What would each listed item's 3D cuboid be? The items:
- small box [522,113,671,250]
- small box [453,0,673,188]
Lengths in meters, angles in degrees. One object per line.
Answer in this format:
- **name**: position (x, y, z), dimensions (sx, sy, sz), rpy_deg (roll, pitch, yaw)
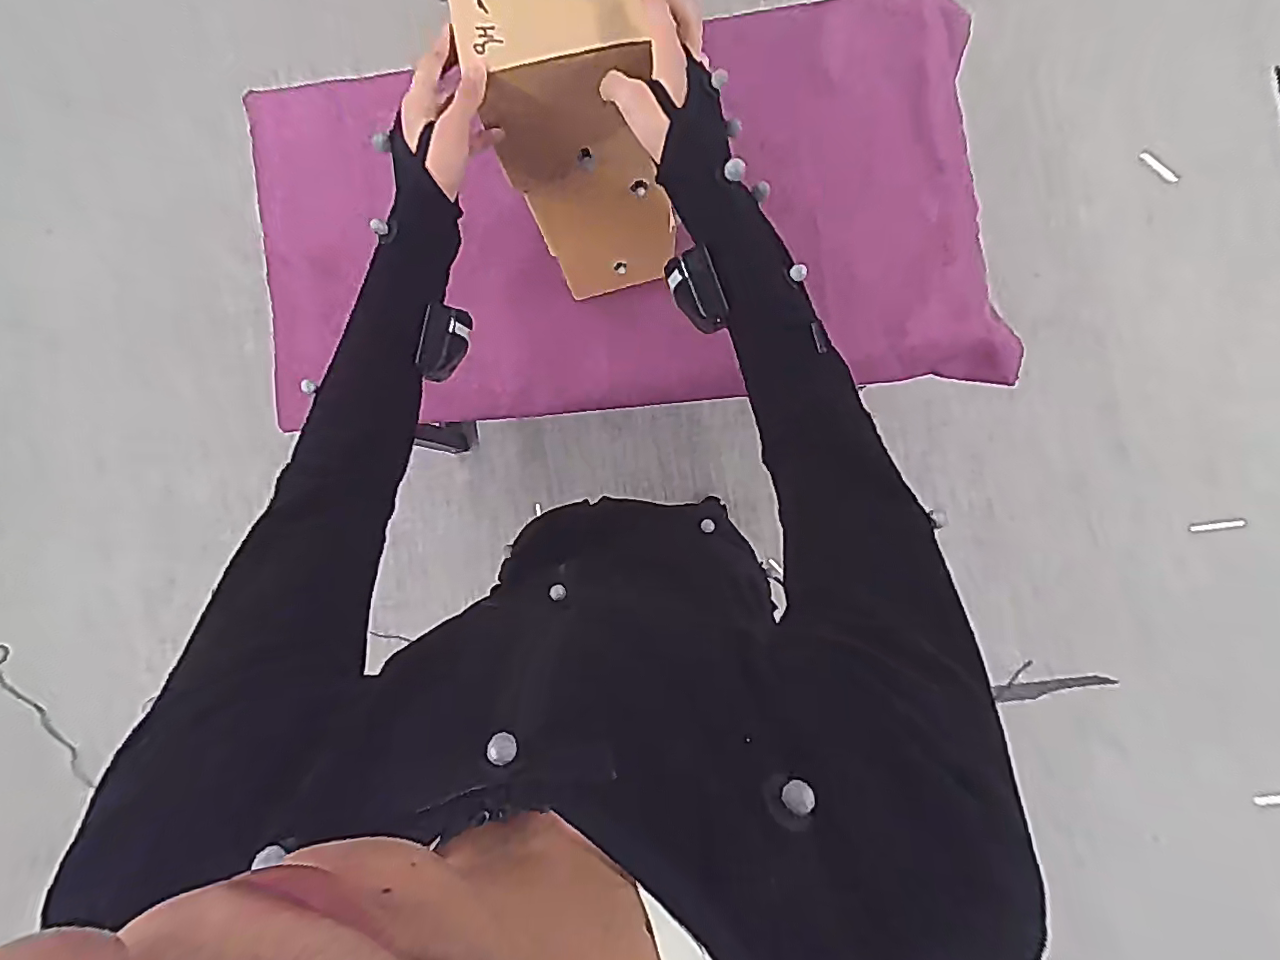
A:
- **small box**: position (-0.059, -0.417, 0.690), dimensions (0.179, 0.176, 0.168), rpy_deg (-10, 88, 1)
- **small box**: position (-0.071, -0.419, 0.526), dimensions (0.179, 0.176, 0.168), rpy_deg (-10, 87, 0)
